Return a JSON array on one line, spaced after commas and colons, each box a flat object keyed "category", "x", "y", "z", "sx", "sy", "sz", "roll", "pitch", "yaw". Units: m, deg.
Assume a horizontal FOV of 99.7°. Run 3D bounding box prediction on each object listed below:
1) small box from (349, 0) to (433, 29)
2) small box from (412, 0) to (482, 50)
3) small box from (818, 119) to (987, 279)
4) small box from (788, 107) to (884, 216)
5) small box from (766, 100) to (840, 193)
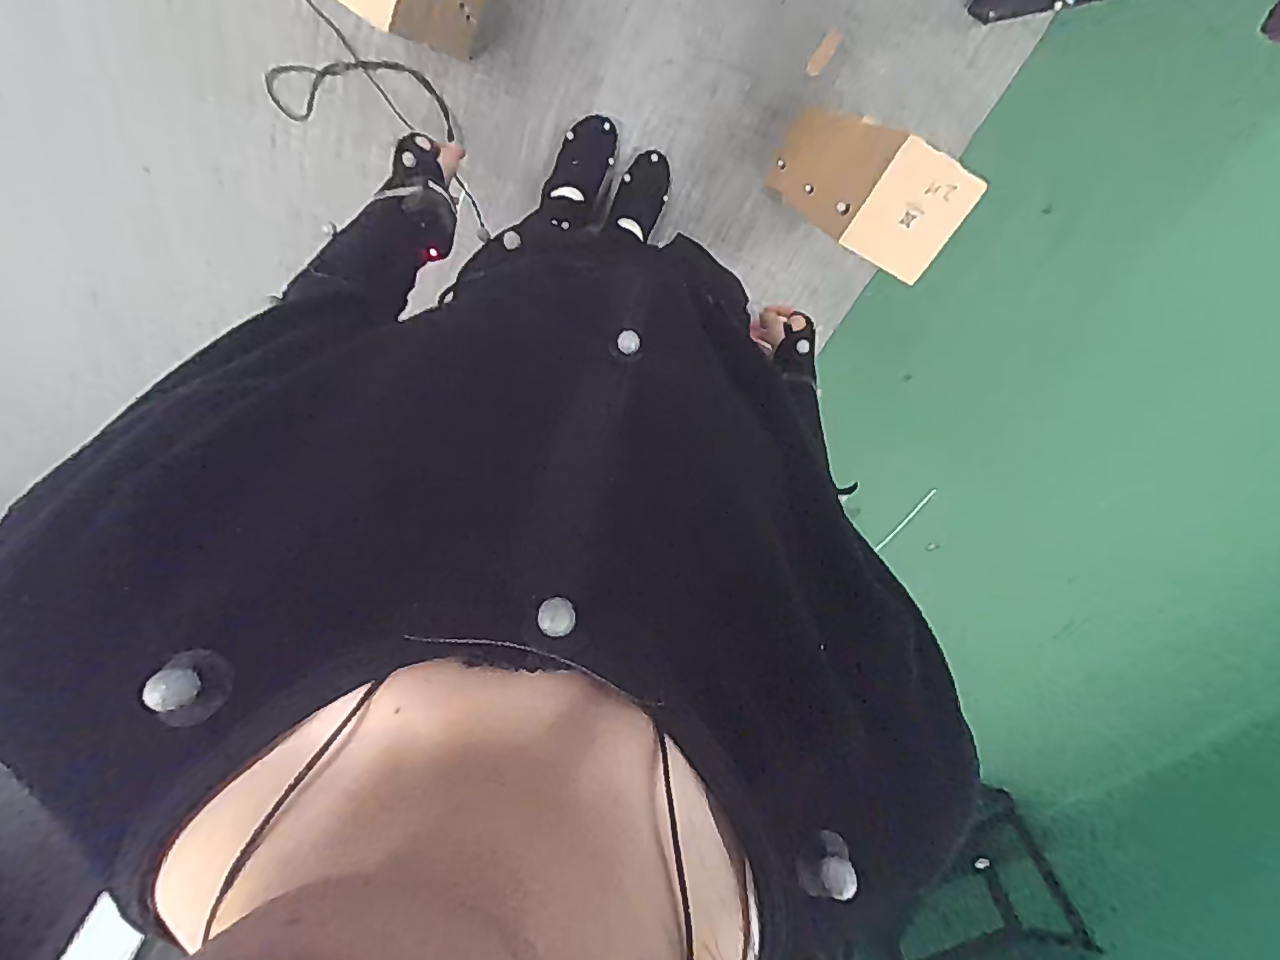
[{"category": "small box", "x": -0.362, "y": -0.725, "z": 0.696, "sx": 0.179, "sy": 0.176, "sz": 0.168, "roll": 26, "pitch": 120, "yaw": -21}, {"category": "small box", "x": -0.378, "y": -0.912, "z": 0.967, "sx": 0.168, "sy": 0.176, "sz": 0.179, "roll": 24, "pitch": 122, "yaw": -20}, {"category": "small box", "x": 0.429, "y": -0.482, "z": 0.924, "sx": 0.168, "sy": 0.176, "sz": 0.179, "roll": 20, "pitch": 123, "yaw": -18}, {"category": "small box", "x": 0.413, "y": -0.591, "z": 1.047, "sx": 0.168, "sy": 0.176, "sz": 0.179, "roll": 20, "pitch": 124, "yaw": -17}, {"category": "small box", "x": 0.401, "y": -0.690, "z": 1.175, "sx": 0.179, "sy": 0.176, "sz": 0.168, "roll": 22, "pitch": 122, "yaw": -19}]
